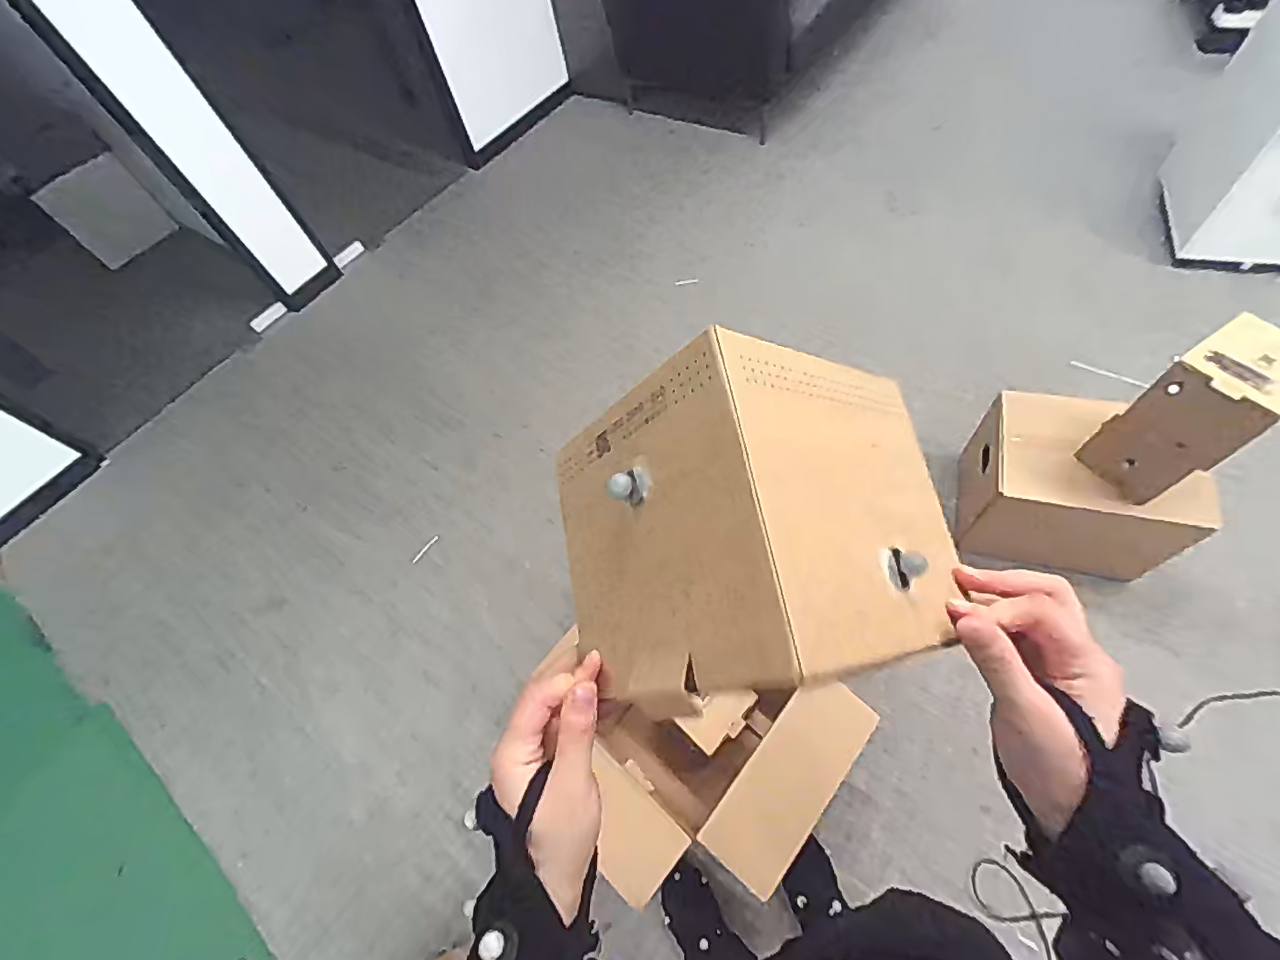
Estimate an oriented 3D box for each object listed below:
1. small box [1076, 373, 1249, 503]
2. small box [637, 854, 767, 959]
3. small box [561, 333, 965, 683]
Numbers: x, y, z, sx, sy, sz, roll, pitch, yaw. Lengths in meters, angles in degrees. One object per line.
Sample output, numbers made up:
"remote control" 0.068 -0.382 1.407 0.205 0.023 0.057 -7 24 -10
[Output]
"small box" 1.073 -0.082 1.135 0.179 0.176 0.168 -33 60 -8
"small box" 0.126 0.875 1.053 0.176 0.168 0.179 35 42 -2
"small box" 0.069 0.025 0.350 0.179 0.168 0.176 1 71 -38
